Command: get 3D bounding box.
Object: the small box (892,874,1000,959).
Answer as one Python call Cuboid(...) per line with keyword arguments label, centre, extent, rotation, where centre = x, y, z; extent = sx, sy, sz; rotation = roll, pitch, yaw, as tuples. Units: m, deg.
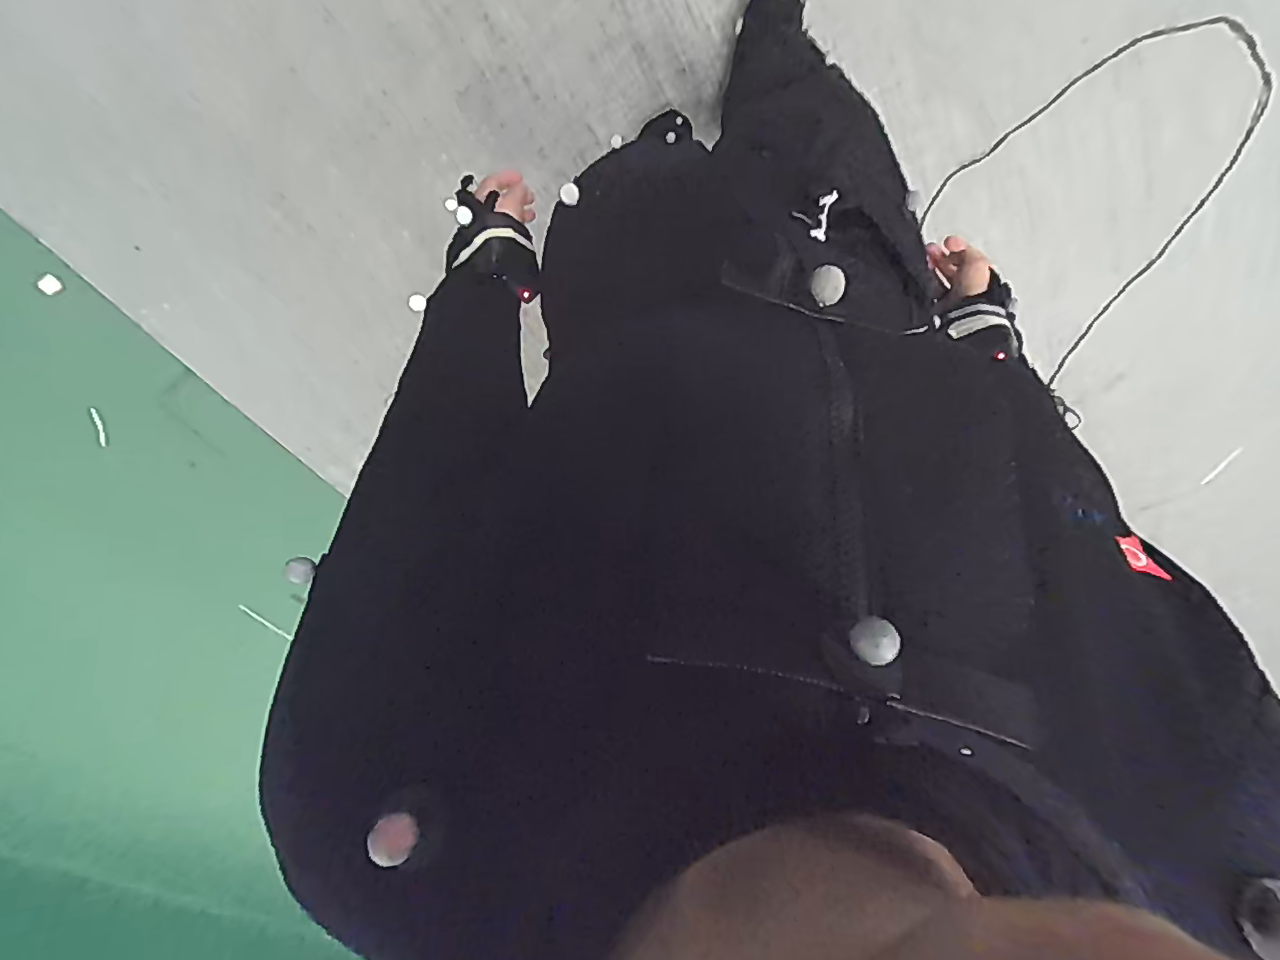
Cuboid(label="small box", centre=(0.788, 1.154, 1.405), extent=(0.168, 0.176, 0.179), rotation=(-33, 123, 21))
